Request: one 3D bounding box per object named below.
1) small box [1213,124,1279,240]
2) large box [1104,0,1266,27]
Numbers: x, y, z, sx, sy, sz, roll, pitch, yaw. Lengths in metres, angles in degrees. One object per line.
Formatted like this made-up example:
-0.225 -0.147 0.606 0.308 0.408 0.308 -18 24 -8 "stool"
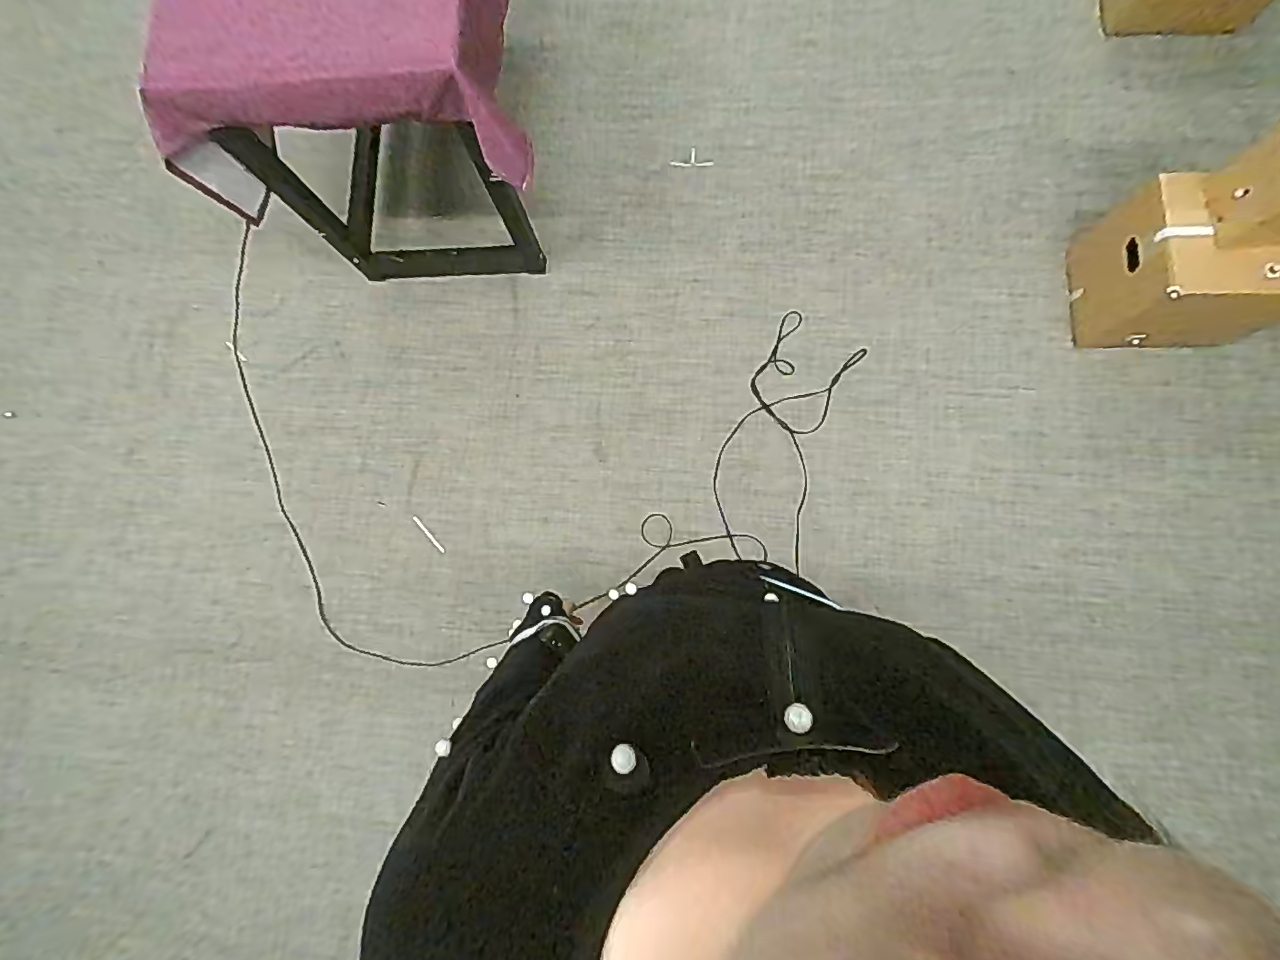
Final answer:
1.397 -0.638 1.160 0.179 0.176 0.168 -2 80 4 "small box"
1.628 -1.560 1.527 0.408 0.320 0.320 2 81 3 "large box"
